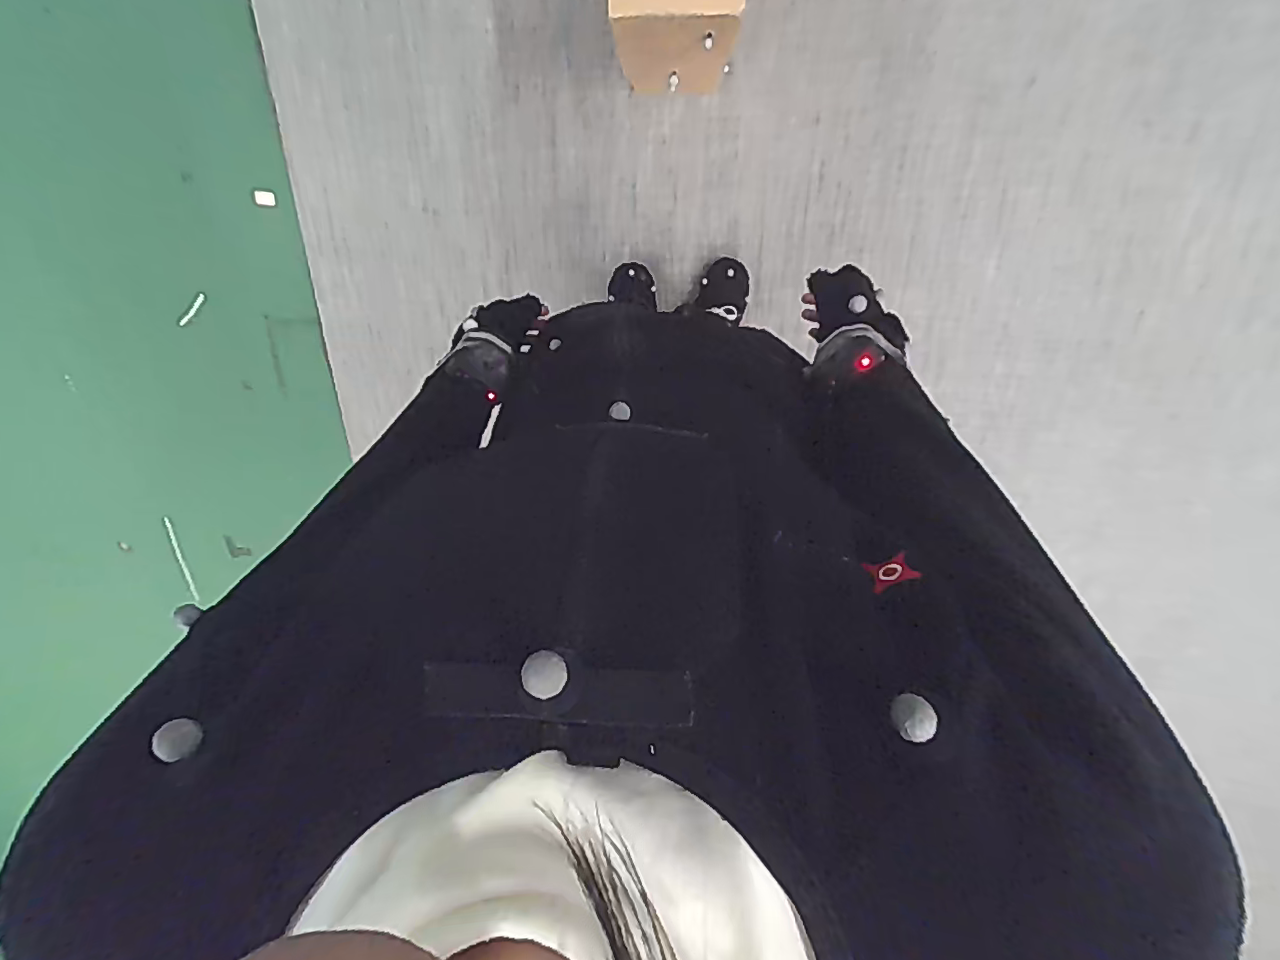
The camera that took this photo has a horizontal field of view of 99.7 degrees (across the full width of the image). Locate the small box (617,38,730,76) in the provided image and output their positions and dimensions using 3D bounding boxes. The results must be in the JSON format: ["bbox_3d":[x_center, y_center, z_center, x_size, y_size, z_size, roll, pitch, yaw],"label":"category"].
[{"bbox_3d":[0.056,-0.770,0.871,0.179,0.176,0.168,1,117,6],"label":"small box"}]

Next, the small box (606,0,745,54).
[{"bbox_3d":[0.050,-0.697,0.723,0.179,0.176,0.168,2,114,6],"label":"small box"}]

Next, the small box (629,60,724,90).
[{"bbox_3d":[0.071,-0.848,1.011,0.179,0.176,0.168,3,115,6],"label":"small box"}]
